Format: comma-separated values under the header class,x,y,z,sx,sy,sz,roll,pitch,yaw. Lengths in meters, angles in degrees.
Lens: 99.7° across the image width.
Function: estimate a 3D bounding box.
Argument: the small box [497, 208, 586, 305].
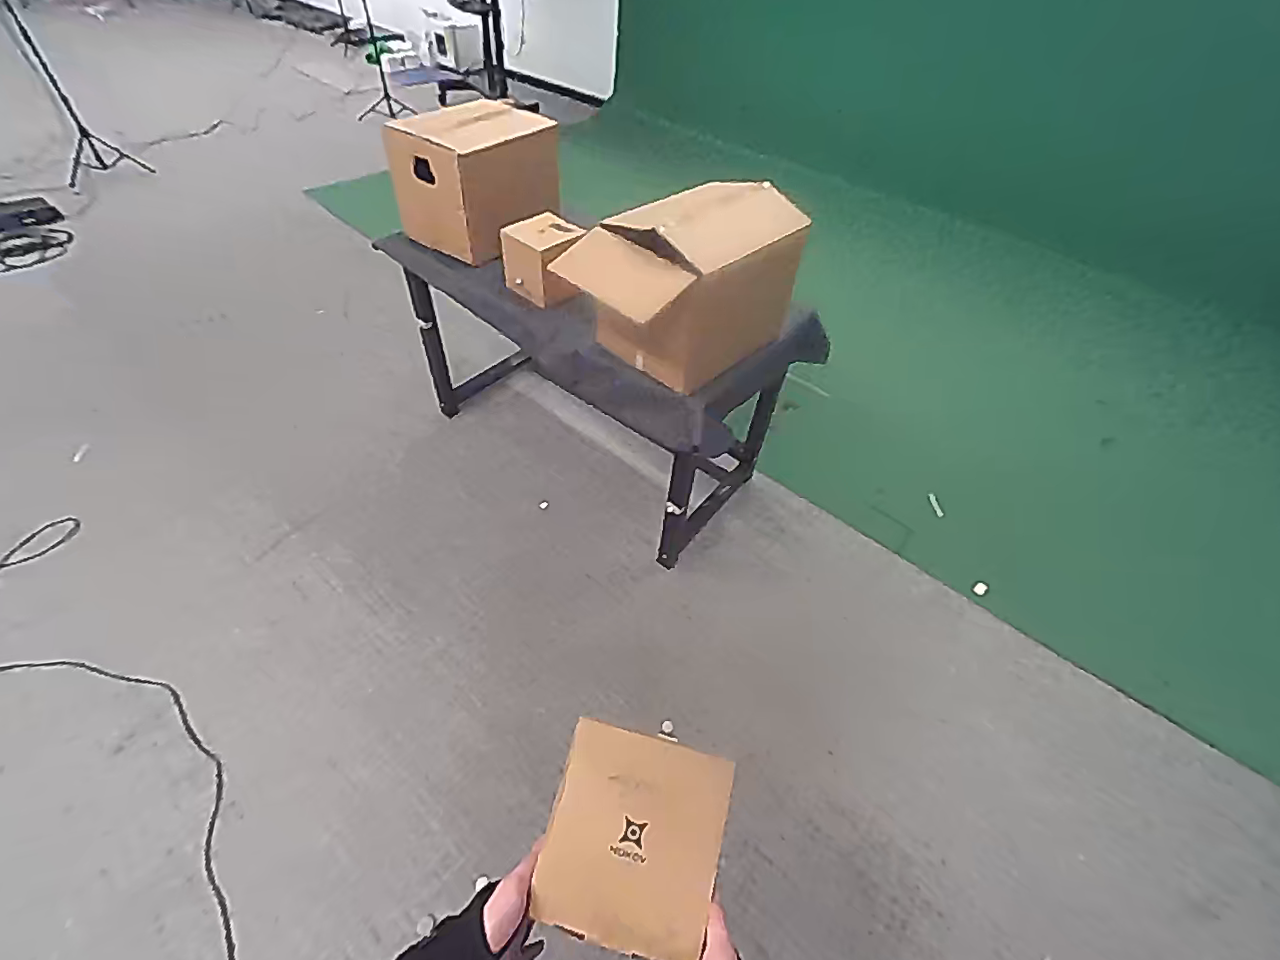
class,x,y,z,sx,sy,sz,roll,pitch,yaw
small box,-0.266,-0.611,1.479,0.168,0.176,0.179,36,56,24
